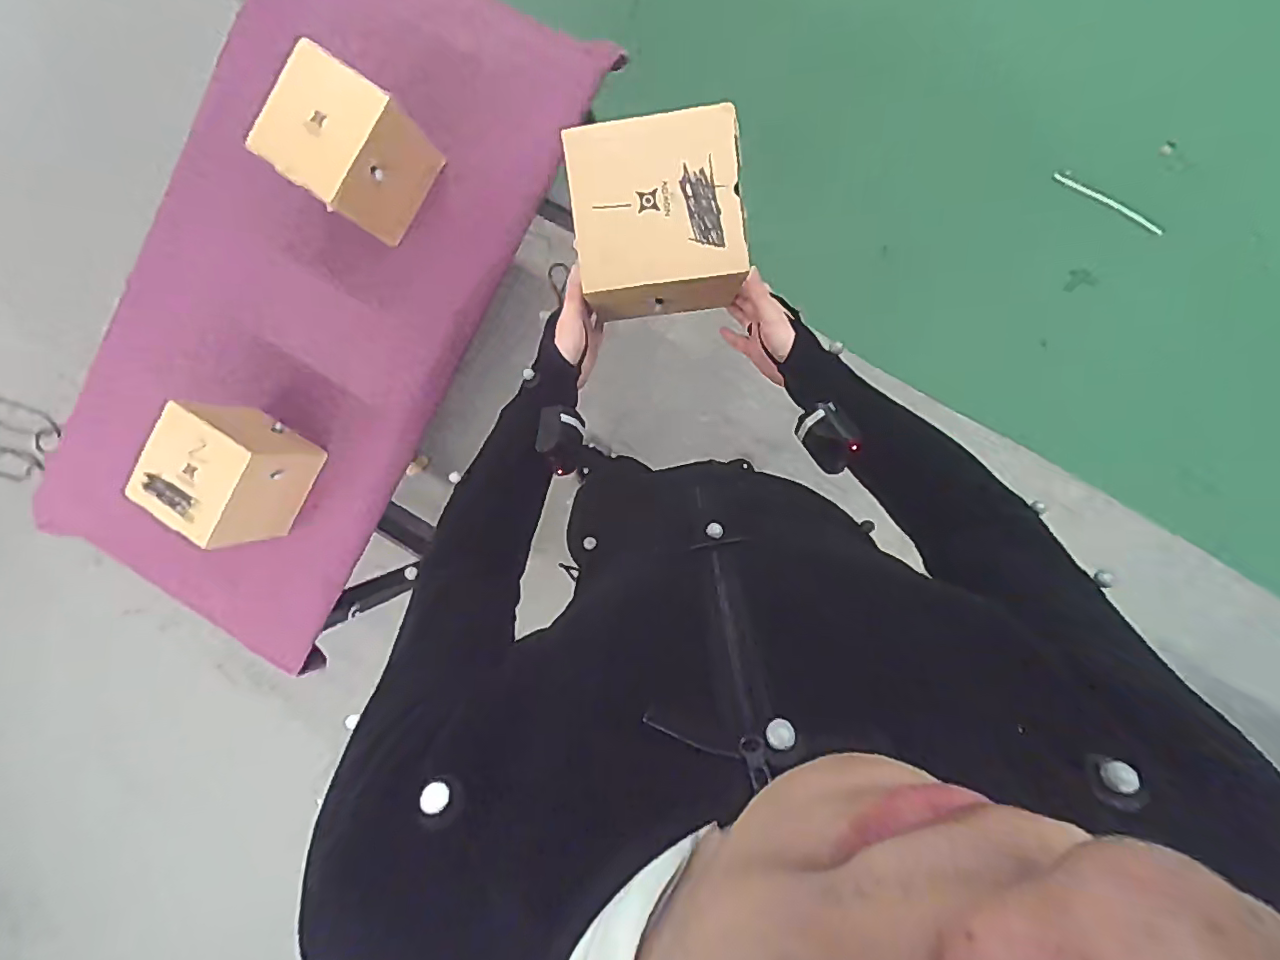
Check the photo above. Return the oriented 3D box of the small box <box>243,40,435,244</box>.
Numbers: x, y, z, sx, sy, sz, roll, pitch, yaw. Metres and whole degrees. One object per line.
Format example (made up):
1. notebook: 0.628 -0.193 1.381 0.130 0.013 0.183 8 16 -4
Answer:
1. small box: -0.452 -0.511 0.846 0.168 0.176 0.179 35 98 3

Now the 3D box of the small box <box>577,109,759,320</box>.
1. small box: 0.031 -0.289 0.625 0.179 0.176 0.168 -5 96 3
